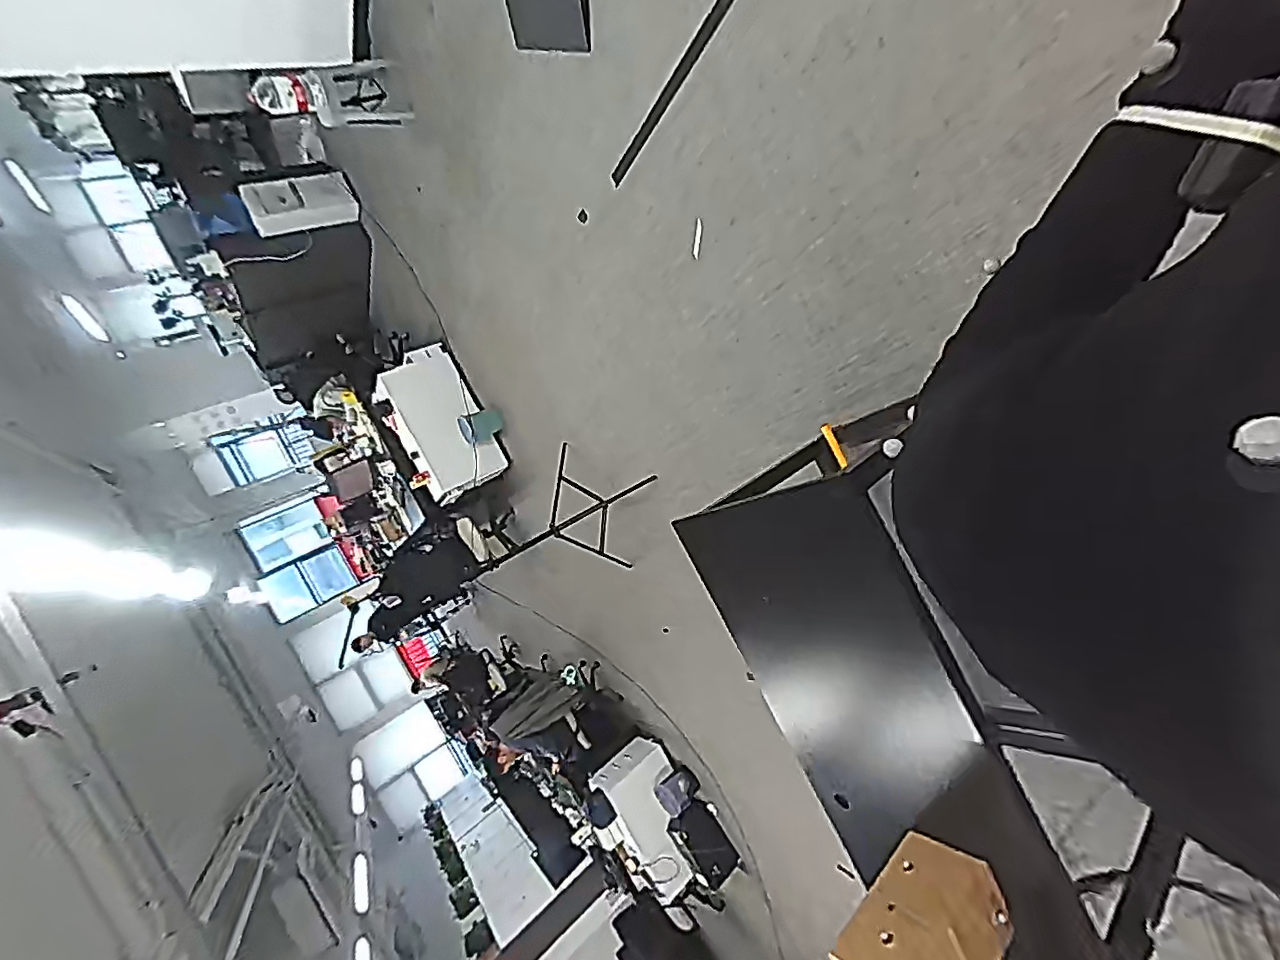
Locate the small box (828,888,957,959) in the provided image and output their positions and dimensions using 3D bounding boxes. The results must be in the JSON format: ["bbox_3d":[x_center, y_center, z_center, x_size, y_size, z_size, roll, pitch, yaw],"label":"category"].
[{"bbox_3d":[0.517,0.975,1.074,0.168,0.176,0.179,-18,100,60],"label":"small box"}]

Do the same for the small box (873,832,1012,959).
[{"bbox_3d":[0.643,0.899,1.150,0.179,0.176,0.168,-19,100,59],"label":"small box"}]
